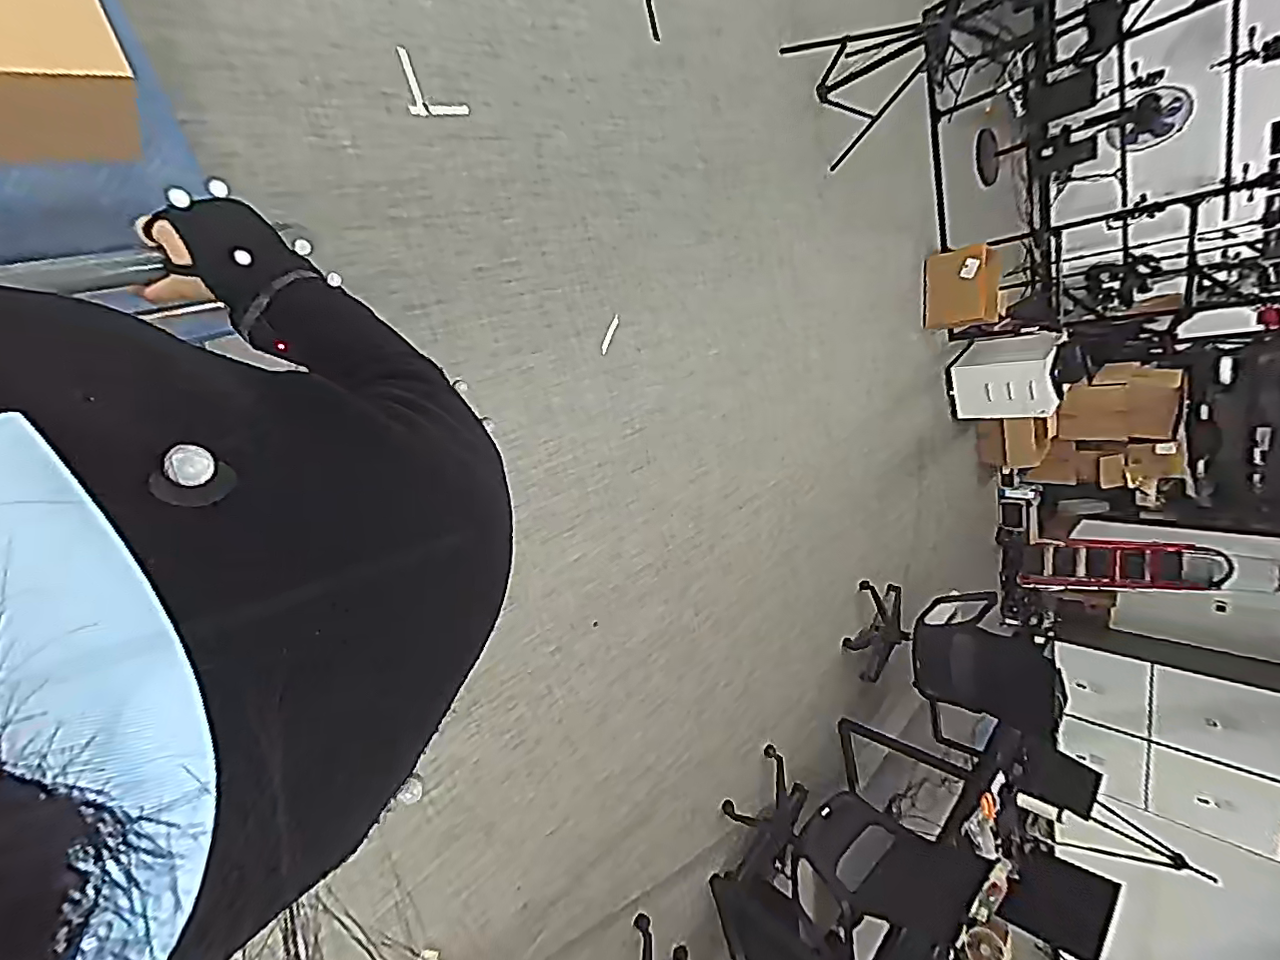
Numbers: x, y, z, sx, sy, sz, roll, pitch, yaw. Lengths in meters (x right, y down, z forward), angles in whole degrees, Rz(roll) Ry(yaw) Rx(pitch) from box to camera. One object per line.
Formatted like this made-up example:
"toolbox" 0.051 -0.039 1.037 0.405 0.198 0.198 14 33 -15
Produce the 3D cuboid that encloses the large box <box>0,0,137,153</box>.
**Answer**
"large box" -0.988 -0.644 0.701 0.408 0.320 0.320 -29 111 -35
